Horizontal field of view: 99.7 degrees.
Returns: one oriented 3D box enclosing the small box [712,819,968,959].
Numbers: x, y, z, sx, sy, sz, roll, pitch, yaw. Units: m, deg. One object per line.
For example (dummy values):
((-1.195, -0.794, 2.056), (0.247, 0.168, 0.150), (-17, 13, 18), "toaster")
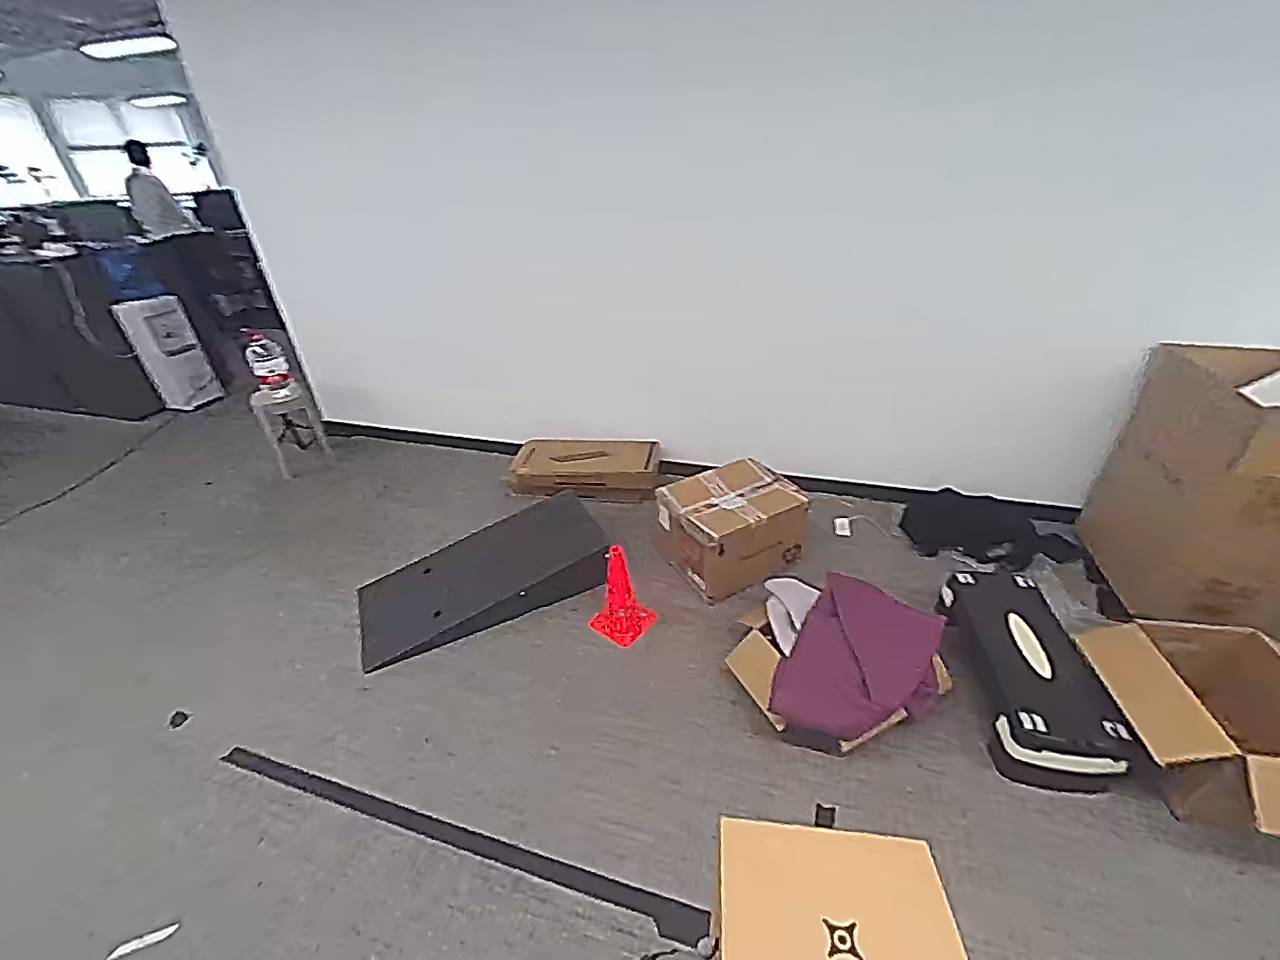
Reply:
((0.139, 0.394, 0.397), (0.168, 0.176, 0.179), (1, 24, 7), "small box")
